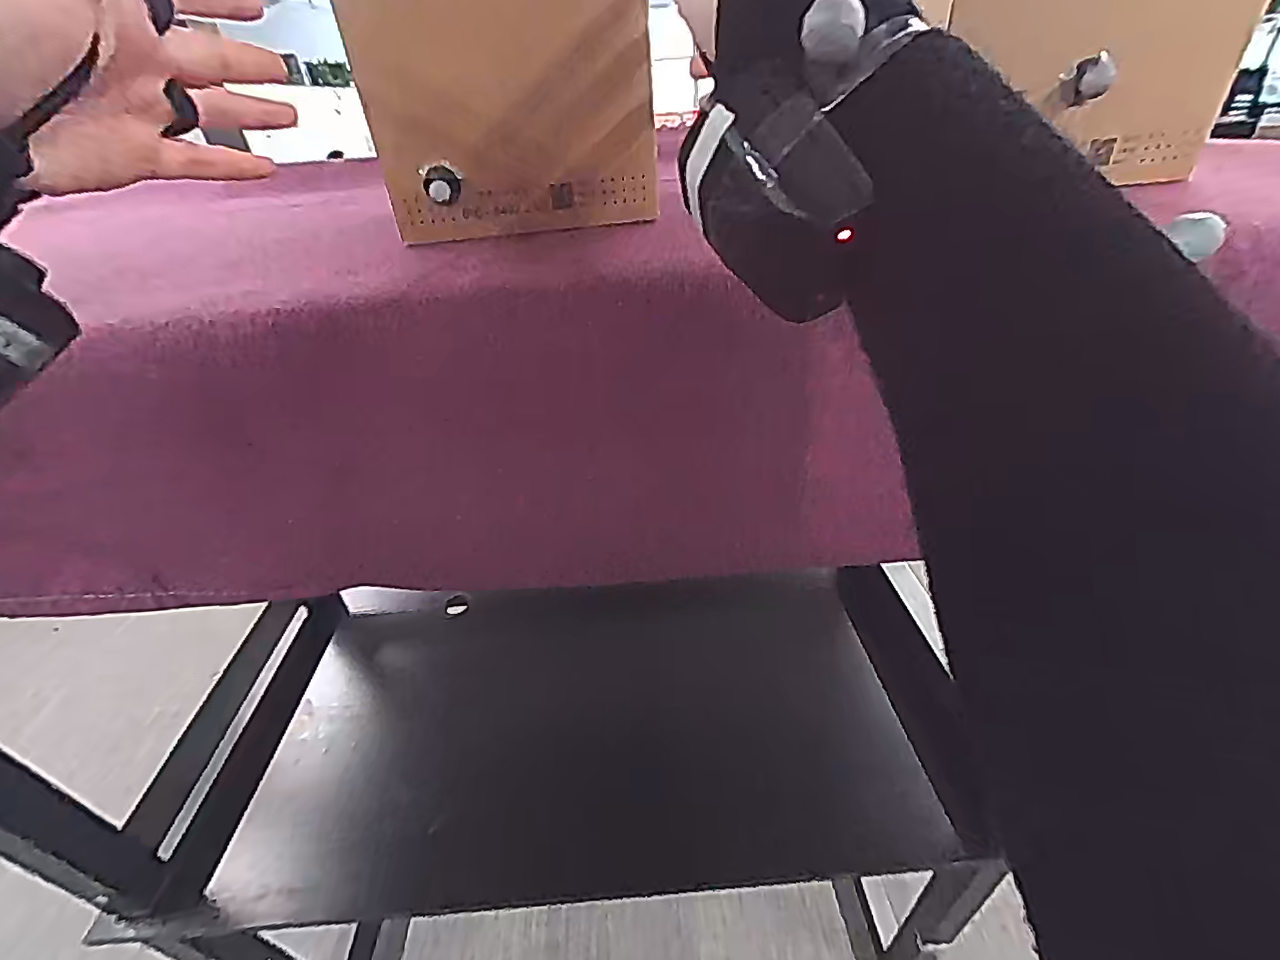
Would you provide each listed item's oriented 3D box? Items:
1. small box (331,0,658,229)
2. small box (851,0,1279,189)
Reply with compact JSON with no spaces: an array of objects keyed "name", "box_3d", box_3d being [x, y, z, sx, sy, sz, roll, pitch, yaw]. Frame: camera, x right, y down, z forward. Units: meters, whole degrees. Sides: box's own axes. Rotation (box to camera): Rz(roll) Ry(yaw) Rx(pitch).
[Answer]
[{"name":"small box","box_3d":[-0.083,-0.271,0.358,0.168,0.176,0.179,-7,35,-4]},{"name":"small box","box_3d":[0.248,-0.291,0.344,0.168,0.176,0.179,-3,35,3]}]
